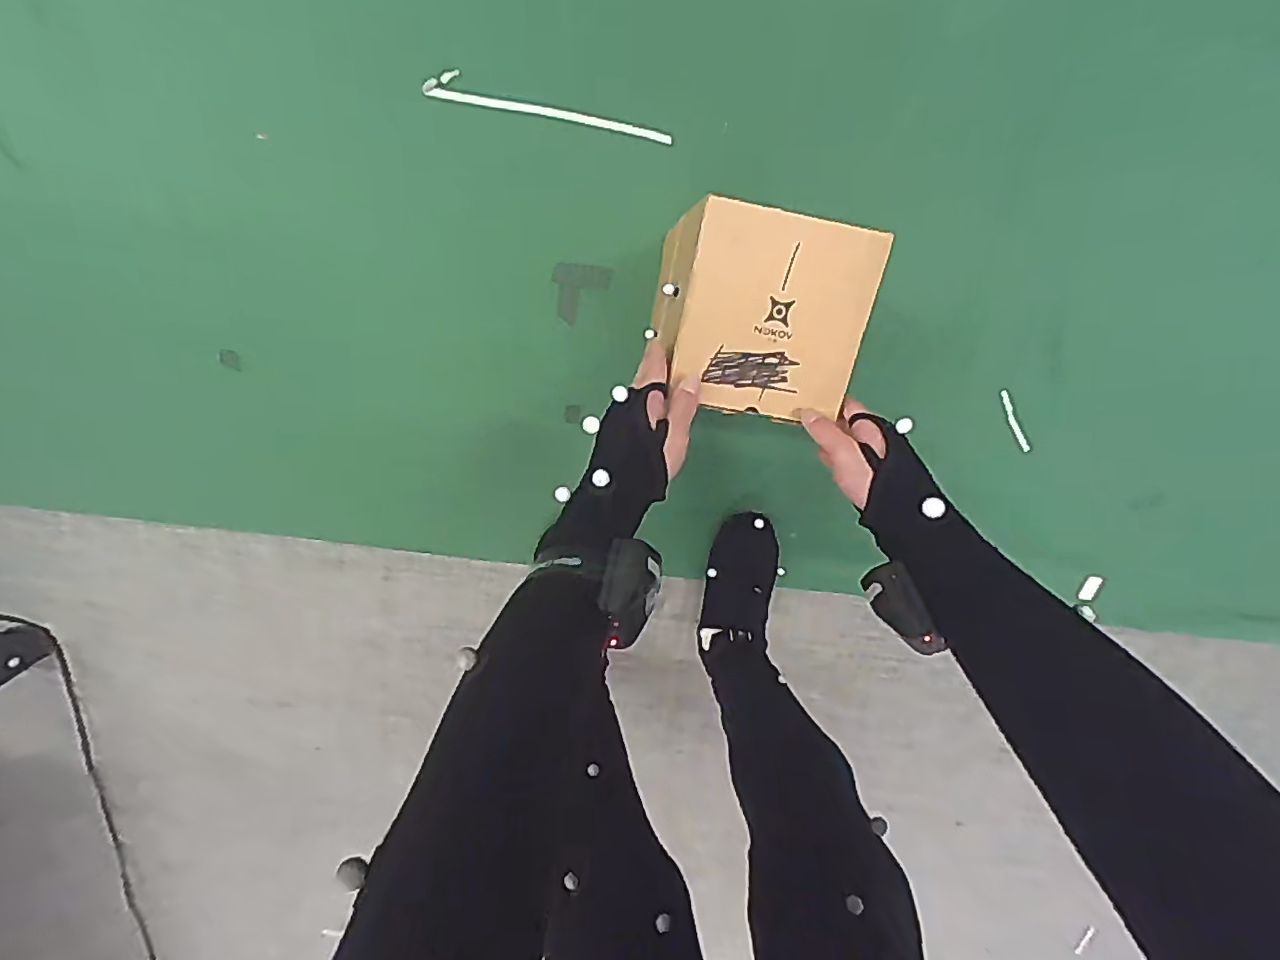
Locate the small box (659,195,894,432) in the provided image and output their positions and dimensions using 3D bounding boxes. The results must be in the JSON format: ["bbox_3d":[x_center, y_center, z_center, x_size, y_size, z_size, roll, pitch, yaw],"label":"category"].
[{"bbox_3d":[0.117,-0.166,0.550,0.168,0.176,0.179,9,109,-7],"label":"small box"}]

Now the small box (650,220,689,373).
[{"bbox_3d":[0.109,-0.223,0.704,0.168,0.176,0.179,8,110,-6],"label":"small box"}]
